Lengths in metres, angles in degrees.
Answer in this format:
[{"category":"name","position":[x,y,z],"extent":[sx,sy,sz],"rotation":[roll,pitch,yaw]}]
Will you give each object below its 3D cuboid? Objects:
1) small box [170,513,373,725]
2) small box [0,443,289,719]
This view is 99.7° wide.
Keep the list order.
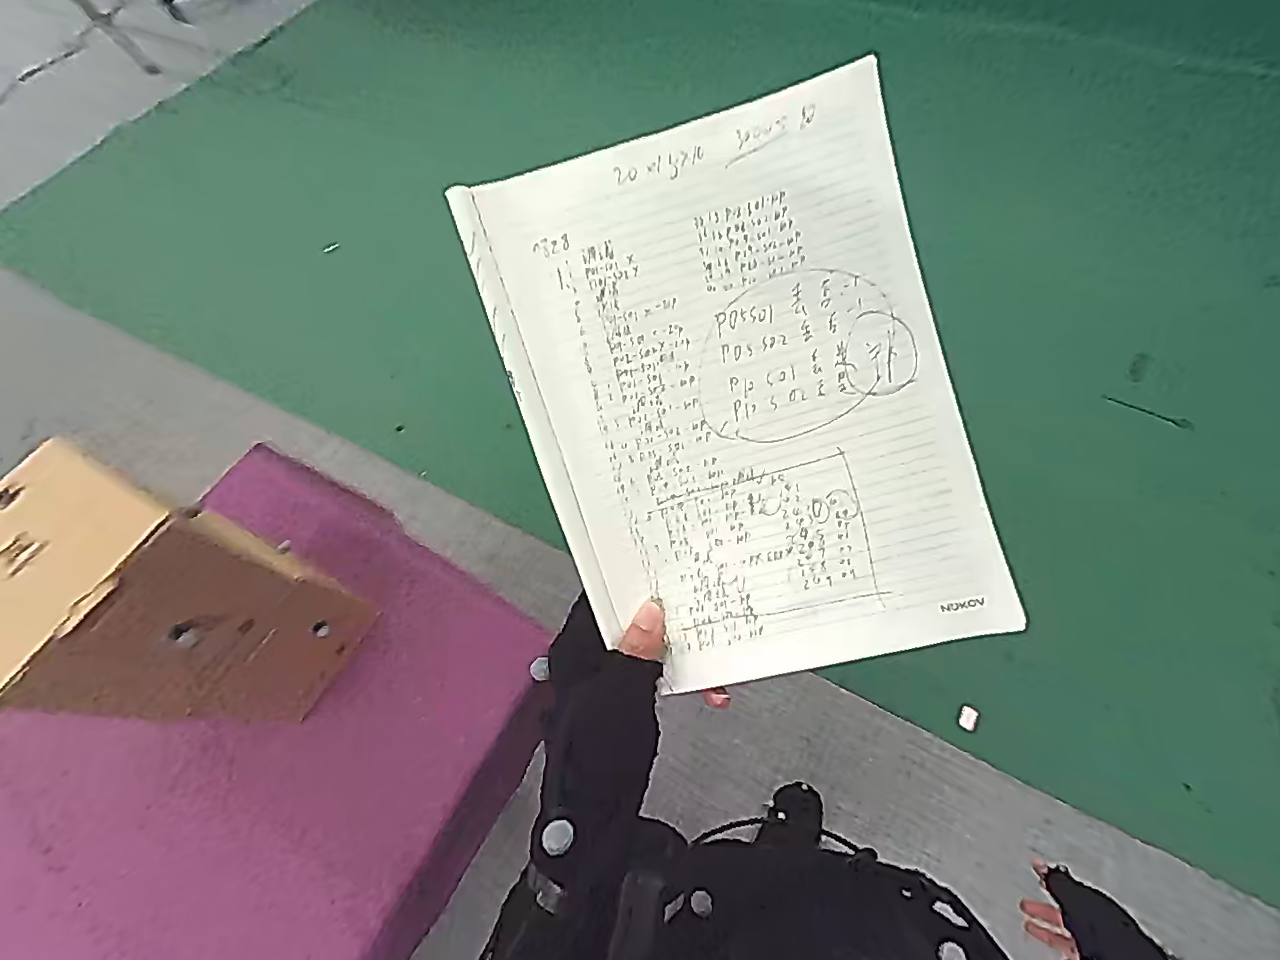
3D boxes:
[{"category":"small box","position":[-0.465,0.172,0.645],"extent":[0.179,0.176,0.168],"rotation":[25,67,17]},{"category":"small box","position":[-0.481,0.101,0.498],"extent":[0.179,0.176,0.168],"rotation":[25,66,16]}]
